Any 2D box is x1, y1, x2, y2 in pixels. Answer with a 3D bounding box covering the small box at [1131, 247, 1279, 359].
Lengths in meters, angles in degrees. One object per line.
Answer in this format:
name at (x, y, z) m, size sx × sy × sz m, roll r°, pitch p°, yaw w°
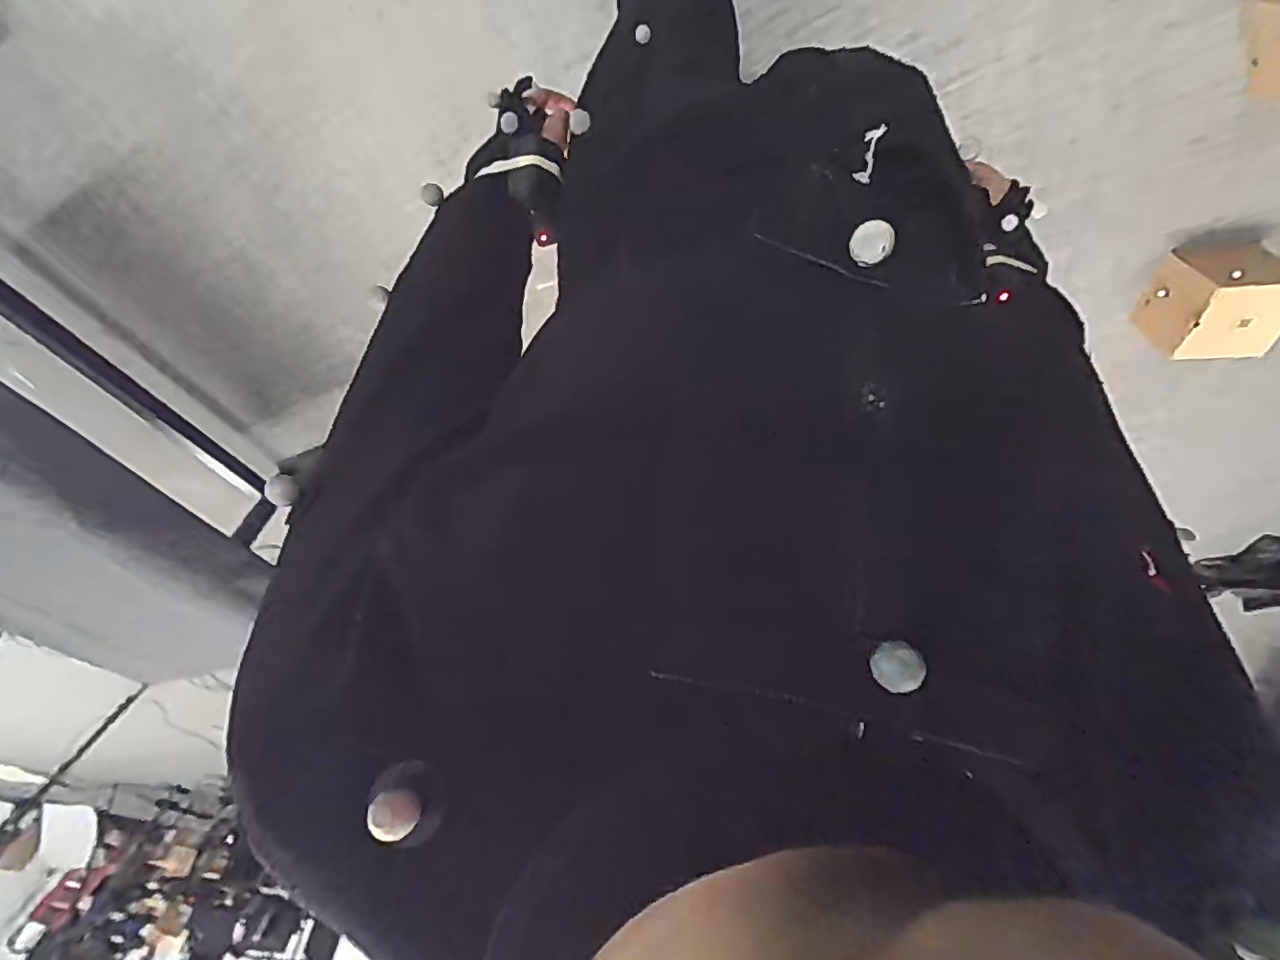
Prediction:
small box at (1.205, -0.373, 1.133) m, size 0.179 × 0.176 × 0.168 m, roll -1°, pitch 136°, yaw 8°
